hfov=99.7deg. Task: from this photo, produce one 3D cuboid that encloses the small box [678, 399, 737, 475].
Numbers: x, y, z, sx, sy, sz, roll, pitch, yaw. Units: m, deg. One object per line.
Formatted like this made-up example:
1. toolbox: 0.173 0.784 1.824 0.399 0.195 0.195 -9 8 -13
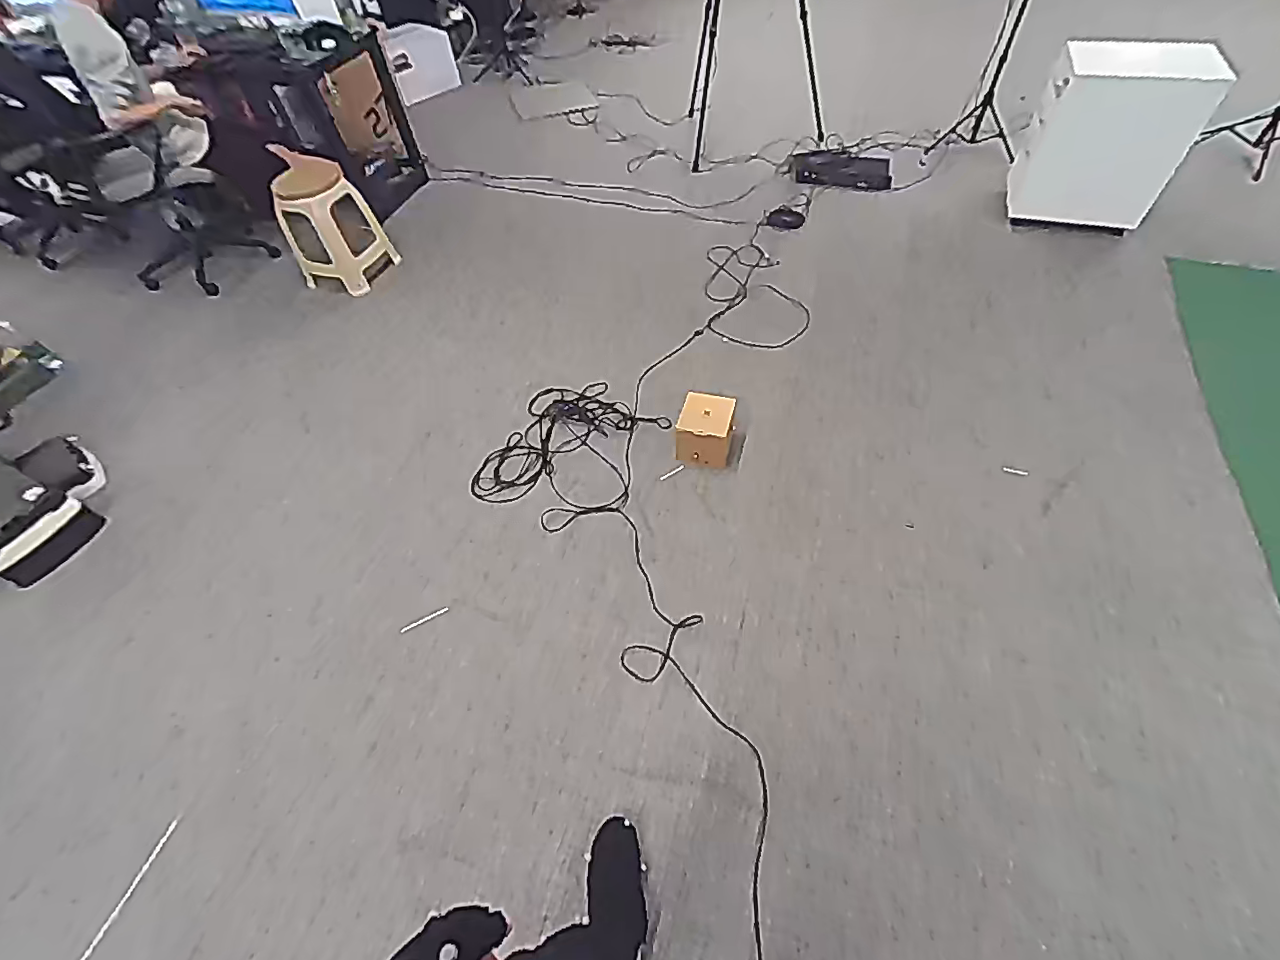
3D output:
1. small box: 0.227 -0.144 1.820 0.168 0.176 0.179 11 55 14
